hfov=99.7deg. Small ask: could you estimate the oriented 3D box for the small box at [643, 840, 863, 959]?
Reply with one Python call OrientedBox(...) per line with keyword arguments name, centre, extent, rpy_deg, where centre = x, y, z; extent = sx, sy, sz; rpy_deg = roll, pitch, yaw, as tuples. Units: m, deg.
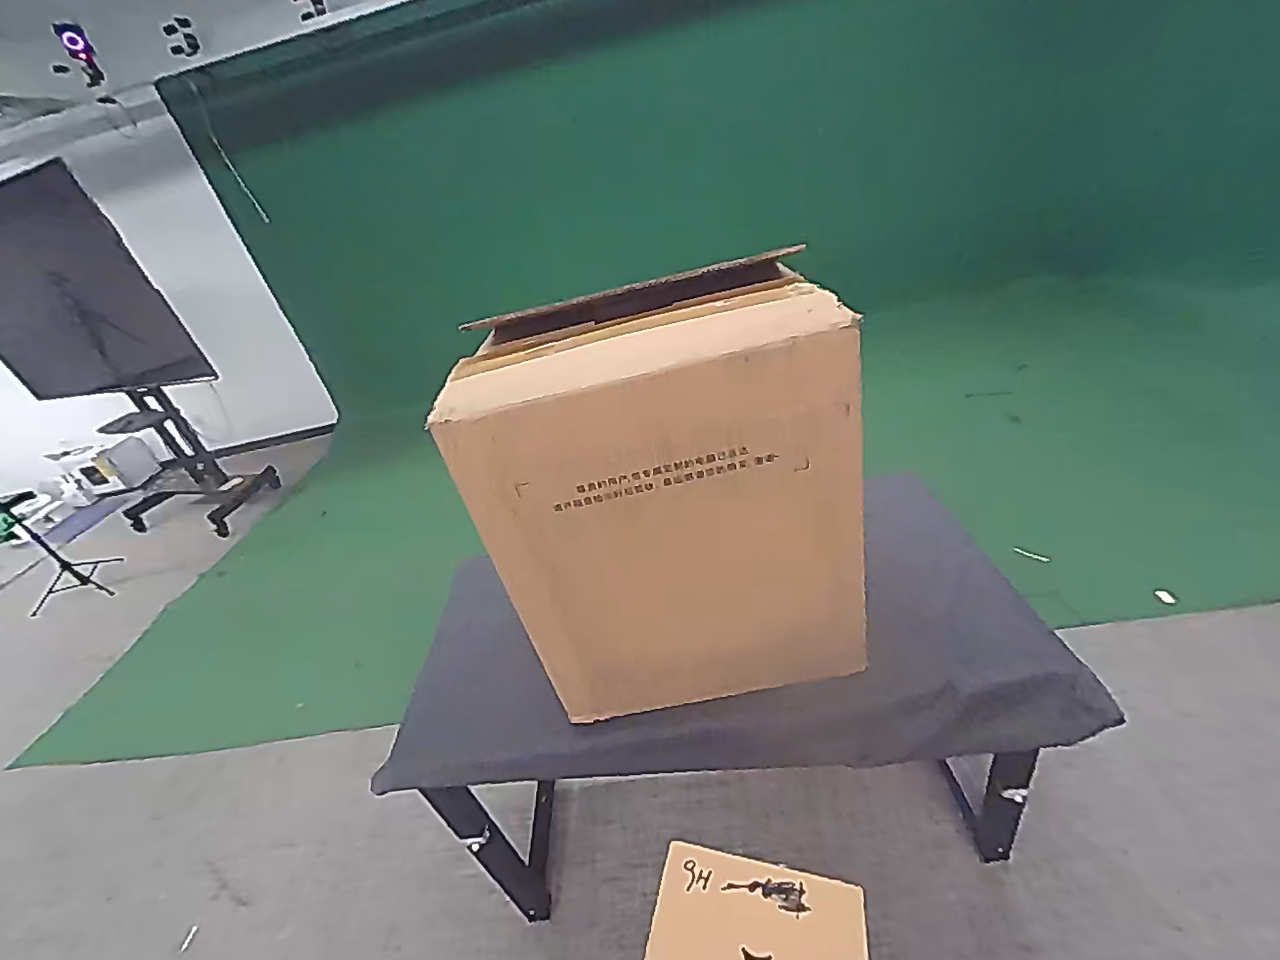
OrientedBox(name="small box", centre=(0.088, 0.446, 0.438), extent=(0.168, 0.176, 0.179), rpy_deg=(4, 28, 15))
